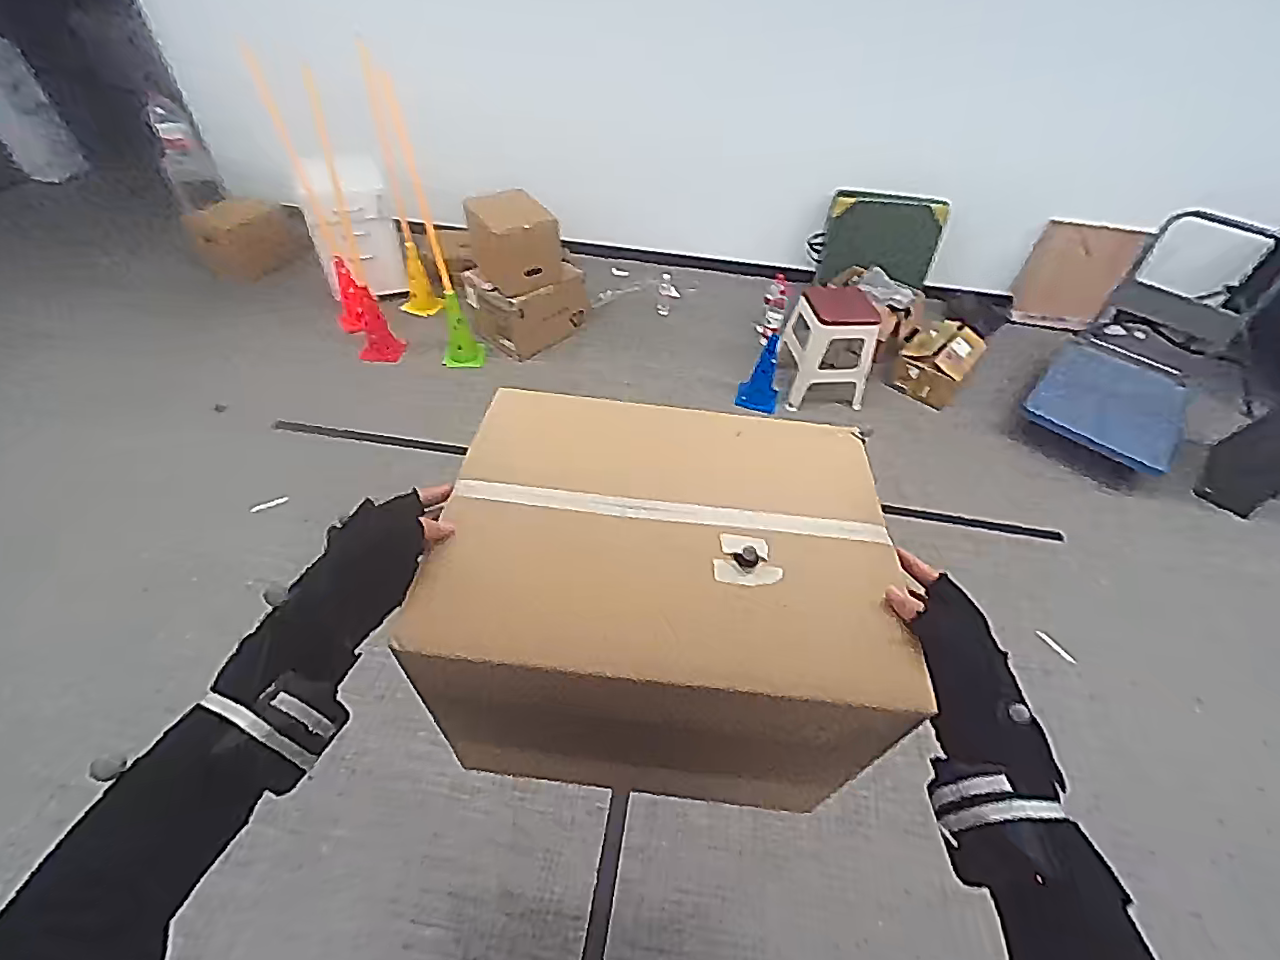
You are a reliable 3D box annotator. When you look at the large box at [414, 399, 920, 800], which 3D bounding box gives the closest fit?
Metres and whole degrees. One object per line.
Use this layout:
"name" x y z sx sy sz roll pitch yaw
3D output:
"large box" 0.020 0.140 0.623 0.408 0.320 0.320 8 47 1
